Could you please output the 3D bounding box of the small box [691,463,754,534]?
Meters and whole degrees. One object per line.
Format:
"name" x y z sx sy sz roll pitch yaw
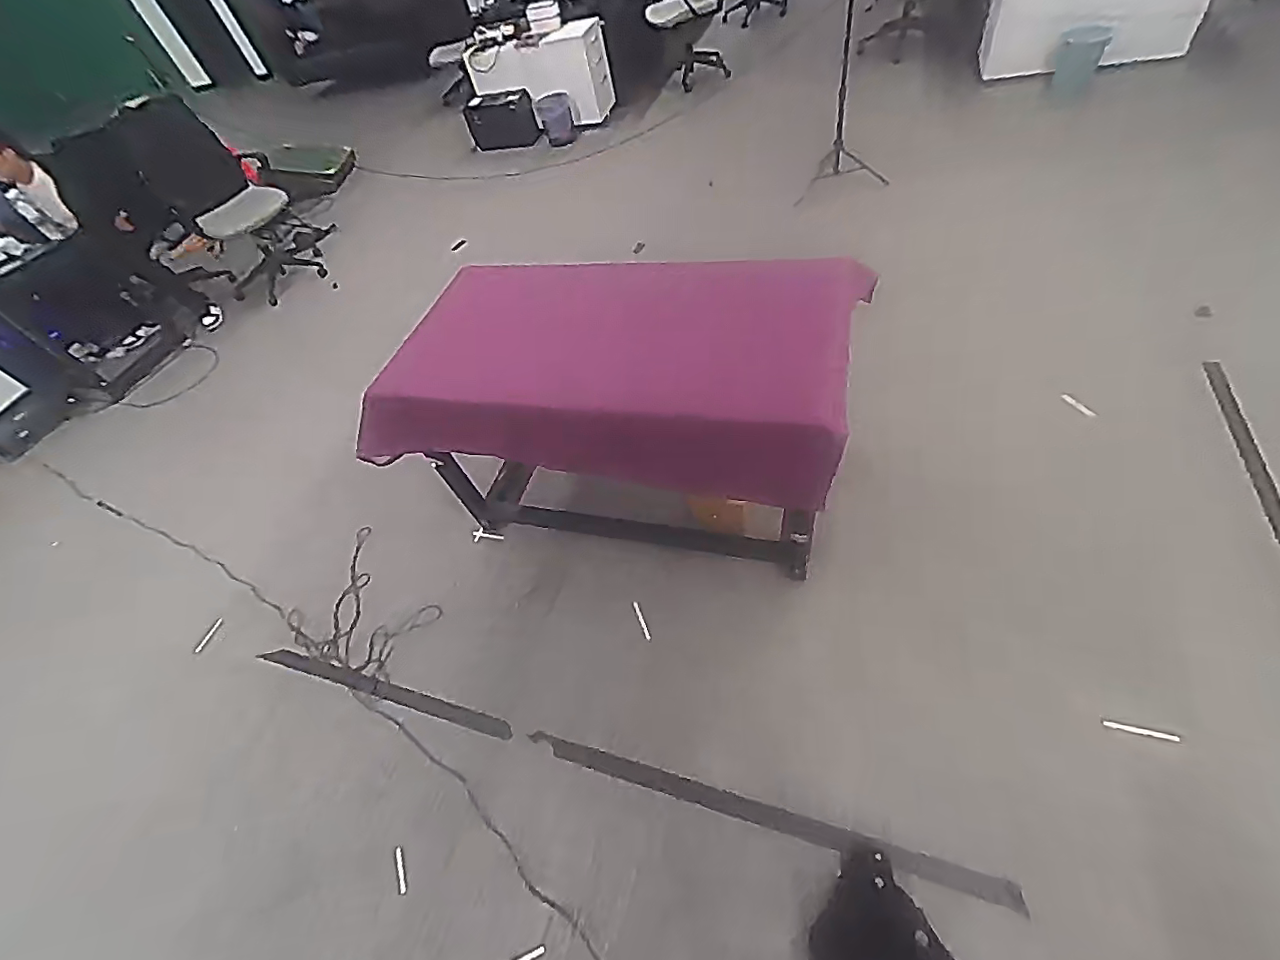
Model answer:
"small box" 0.285 0.066 1.826 0.179 0.176 0.168 7 54 20
